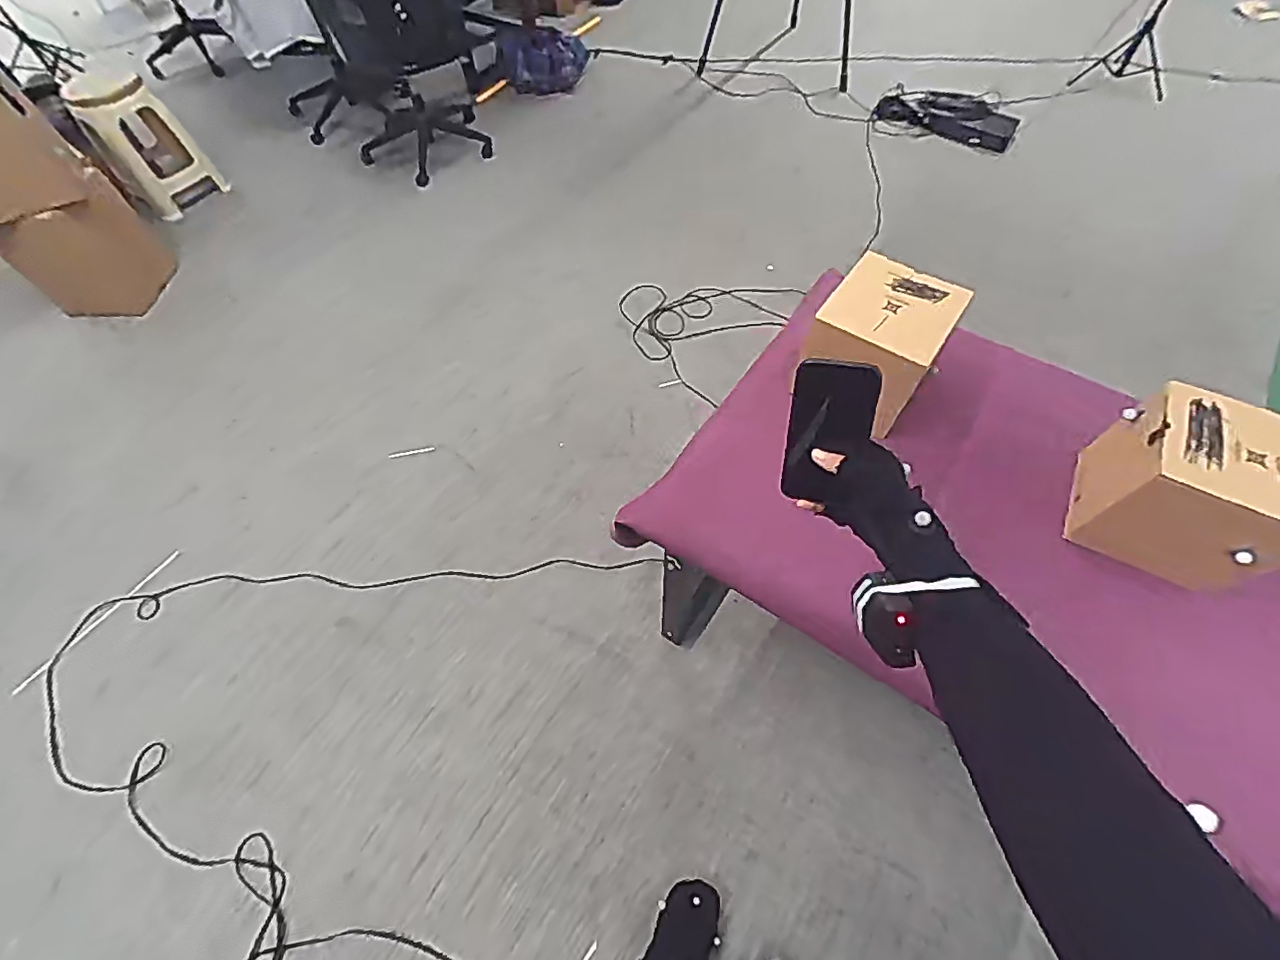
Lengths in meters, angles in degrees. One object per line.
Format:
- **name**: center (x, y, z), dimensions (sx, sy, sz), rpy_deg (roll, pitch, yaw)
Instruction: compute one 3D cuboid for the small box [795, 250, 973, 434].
- **small box**: center (0.359, -0.206, 0.826), dimensions (0.168, 0.176, 0.179), rpy_deg (33, 67, 19)
